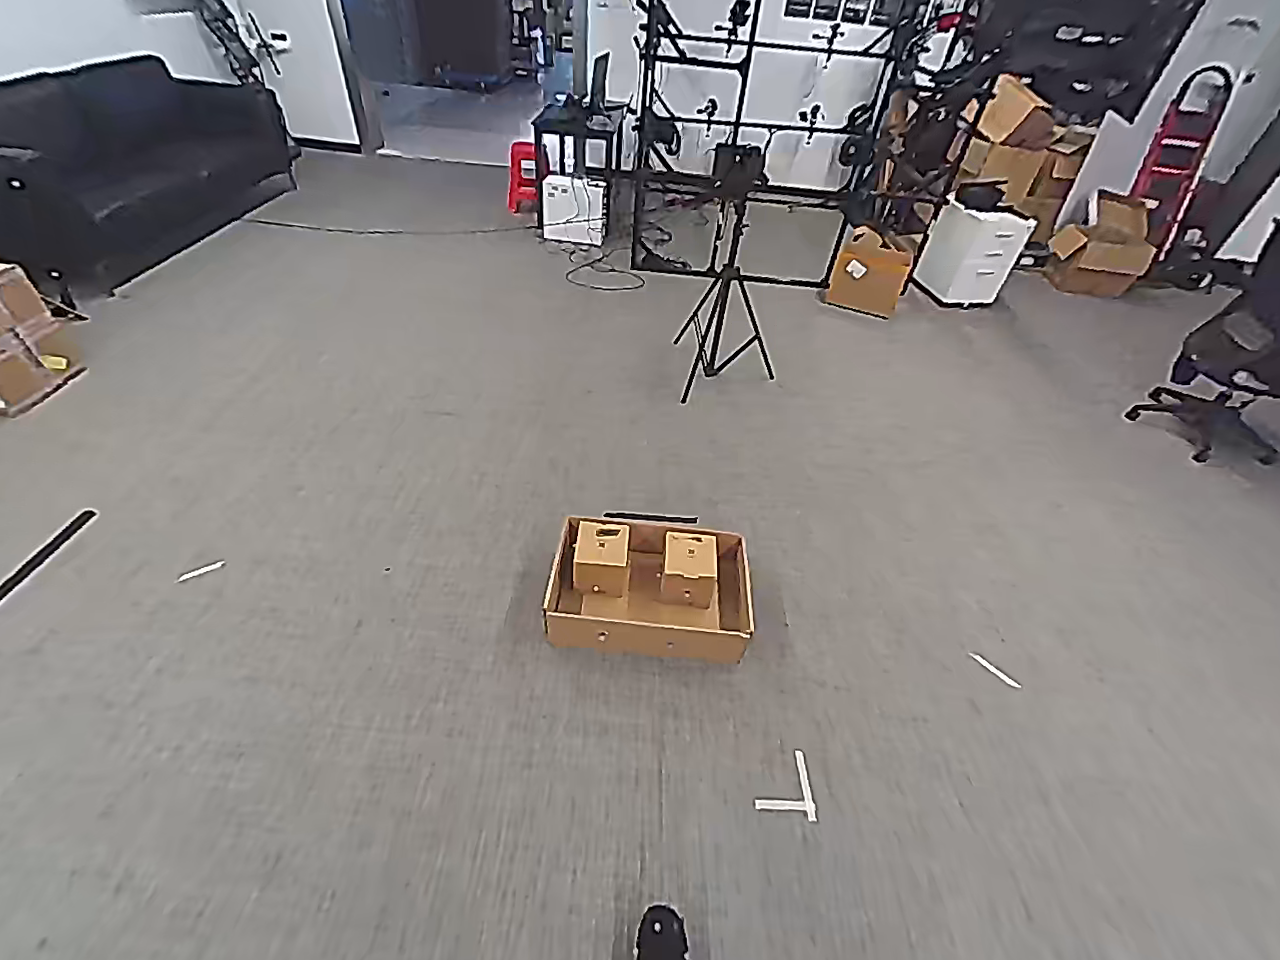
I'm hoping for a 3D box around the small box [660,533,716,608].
[{"bbox_3d":[0.156,0.301,1.776,0.168,0.176,0.179,6,44,0],"label":"small box"}]
